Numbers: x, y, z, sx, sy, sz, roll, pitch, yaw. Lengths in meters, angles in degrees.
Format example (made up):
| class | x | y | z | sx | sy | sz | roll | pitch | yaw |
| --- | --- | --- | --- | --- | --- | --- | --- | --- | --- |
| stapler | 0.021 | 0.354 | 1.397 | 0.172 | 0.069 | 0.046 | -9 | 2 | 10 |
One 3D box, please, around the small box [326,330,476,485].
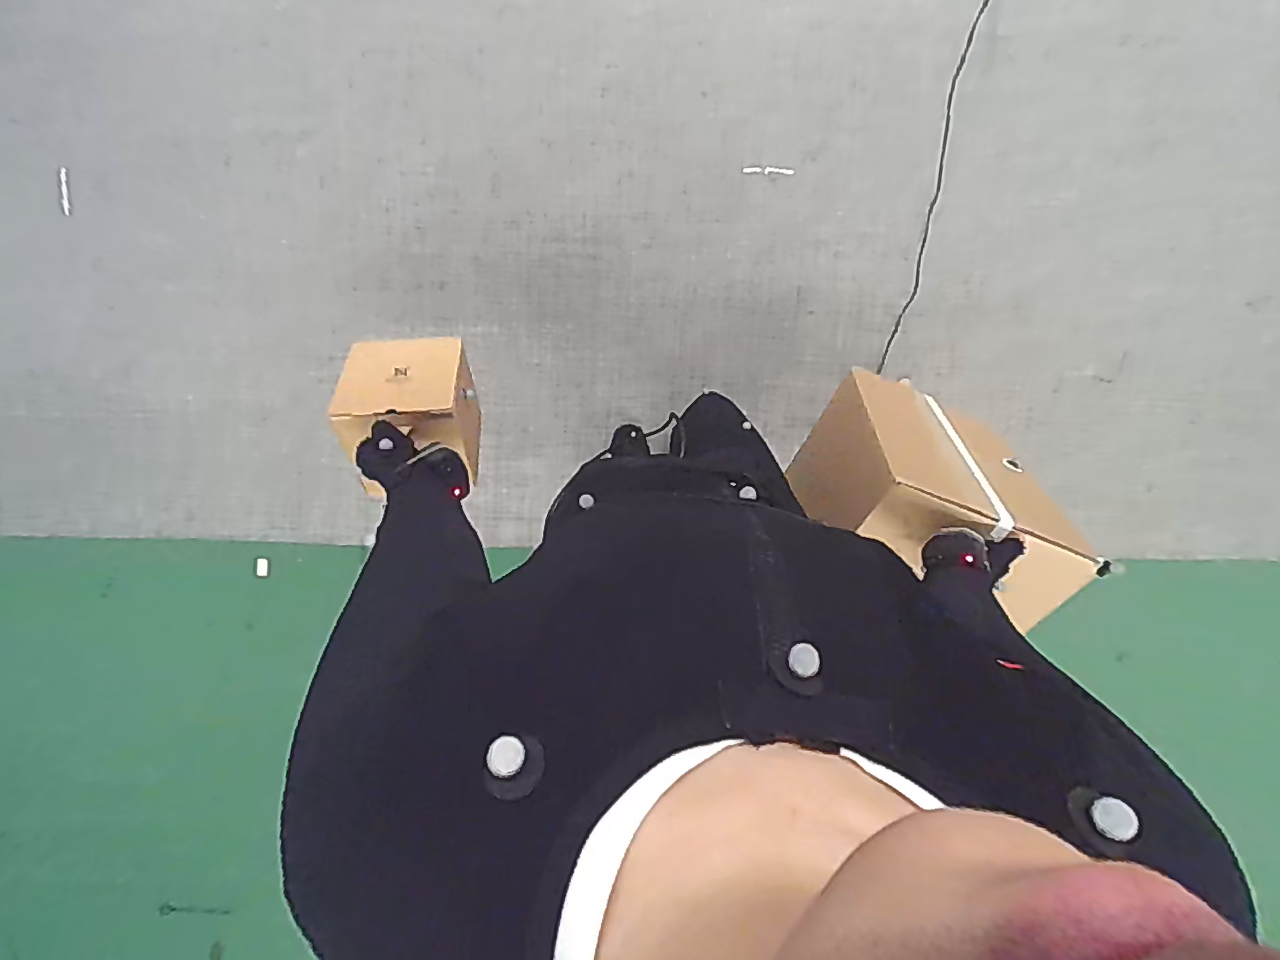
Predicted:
| class | x | y | z | sx | sy | sz | roll | pitch | yaw |
| --- | --- | --- | --- | --- | --- | --- | --- | --- | --- |
| small box | -0.358 | -0.113 | 0.849 | 0.168 | 0.179 | 0.176 | -4 | 141 | -8 |
